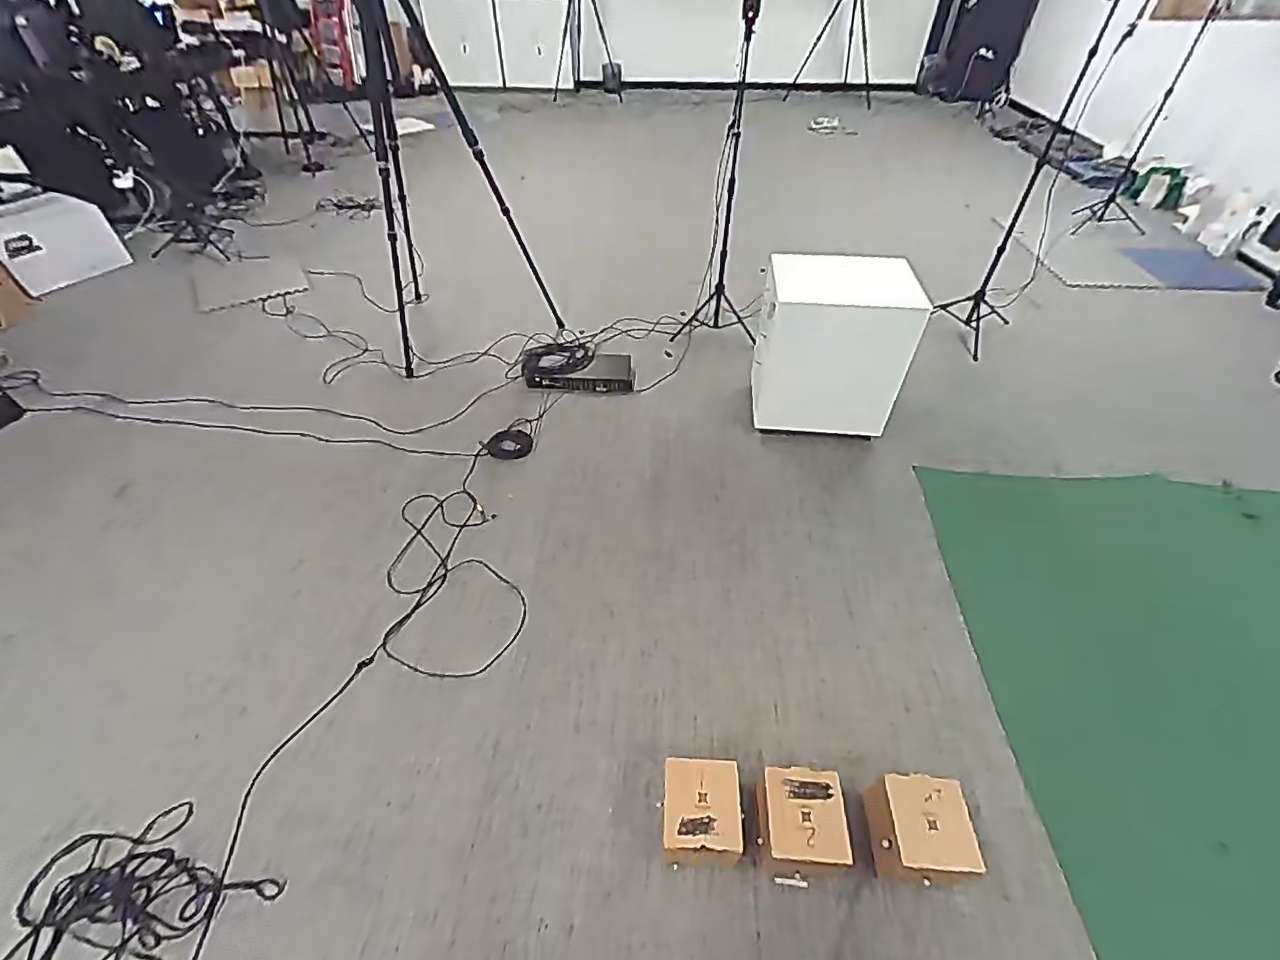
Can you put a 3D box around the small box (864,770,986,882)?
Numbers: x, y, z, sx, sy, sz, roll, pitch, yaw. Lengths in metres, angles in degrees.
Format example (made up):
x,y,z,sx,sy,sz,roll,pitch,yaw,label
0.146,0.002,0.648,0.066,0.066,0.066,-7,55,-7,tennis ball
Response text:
x,y,z,sx,sy,sz,roll,pitch,yaw,label
0.616,0.767,1.193,0.168,0.176,0.179,4,46,3,small box

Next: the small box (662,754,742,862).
x,y,z,sx,sy,sz,roll,pitch,yaw,label
0.136,0.742,1.218,0.168,0.176,0.179,2,45,3,small box
